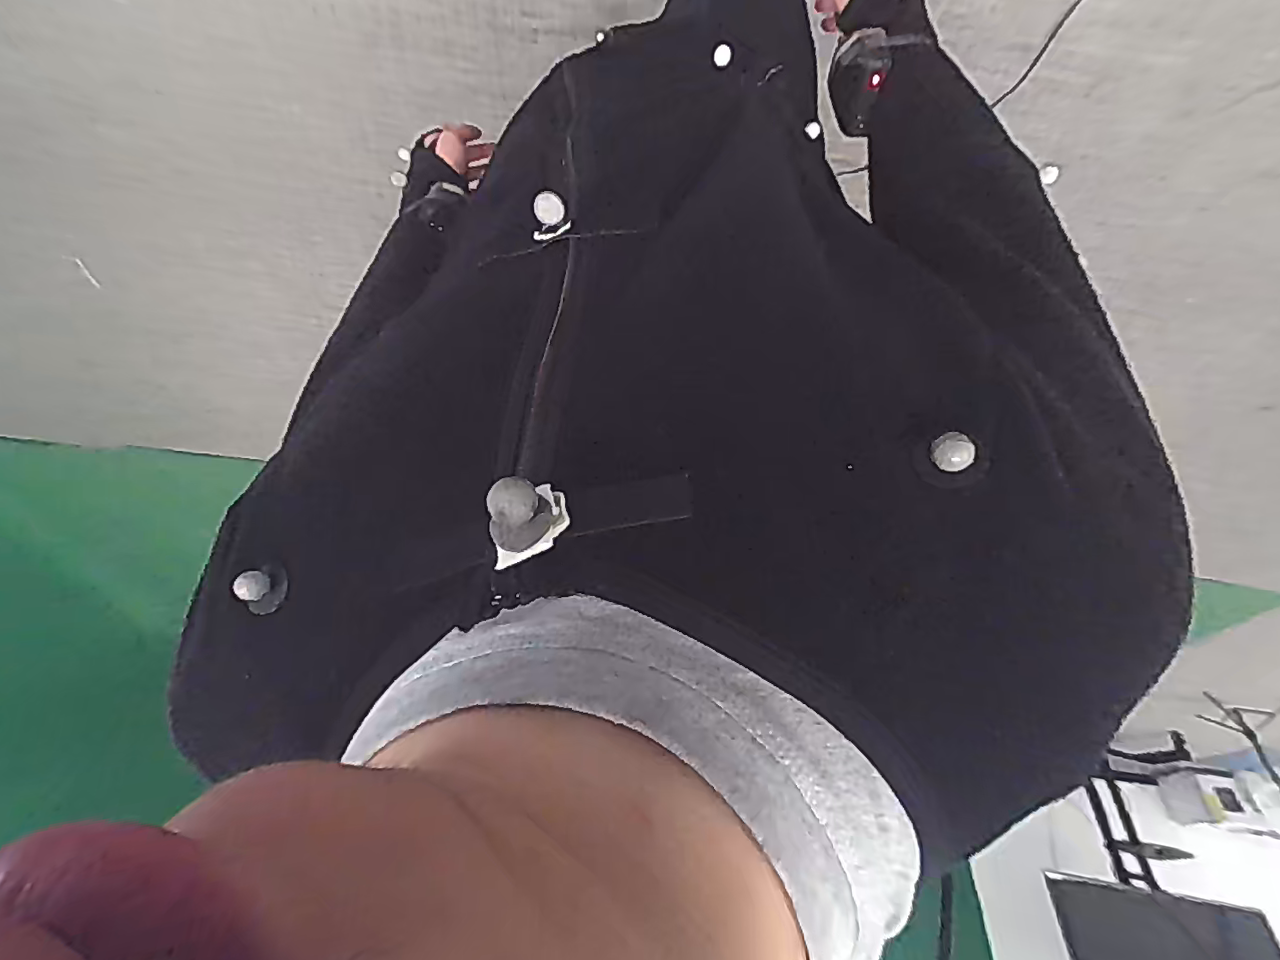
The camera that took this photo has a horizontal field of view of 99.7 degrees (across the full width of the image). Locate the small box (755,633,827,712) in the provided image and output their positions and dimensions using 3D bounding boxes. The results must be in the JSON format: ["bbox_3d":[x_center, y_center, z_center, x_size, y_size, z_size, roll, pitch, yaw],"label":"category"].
[{"bbox_3d":[0.441,0.572,1.606,0.168,0.176,0.179,5,143,1],"label":"small box"}]
